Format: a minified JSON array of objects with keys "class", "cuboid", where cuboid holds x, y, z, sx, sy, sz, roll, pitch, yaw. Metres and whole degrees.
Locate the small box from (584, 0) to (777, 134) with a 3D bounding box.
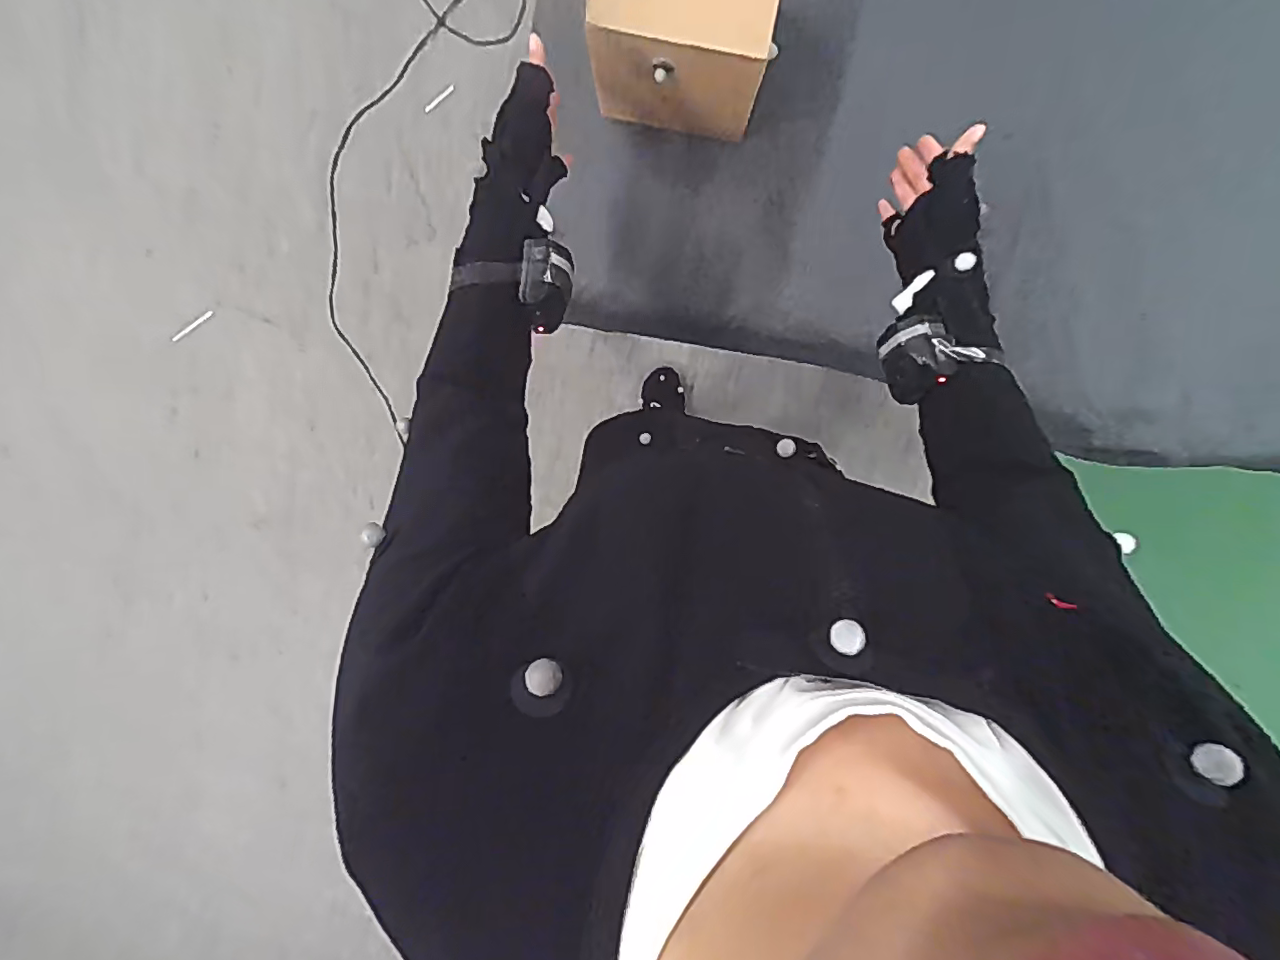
[{"class":"small box","cuboid":[0.049,-0.498,0.569,0.179,0.176,0.168,11,99,-1]}]
